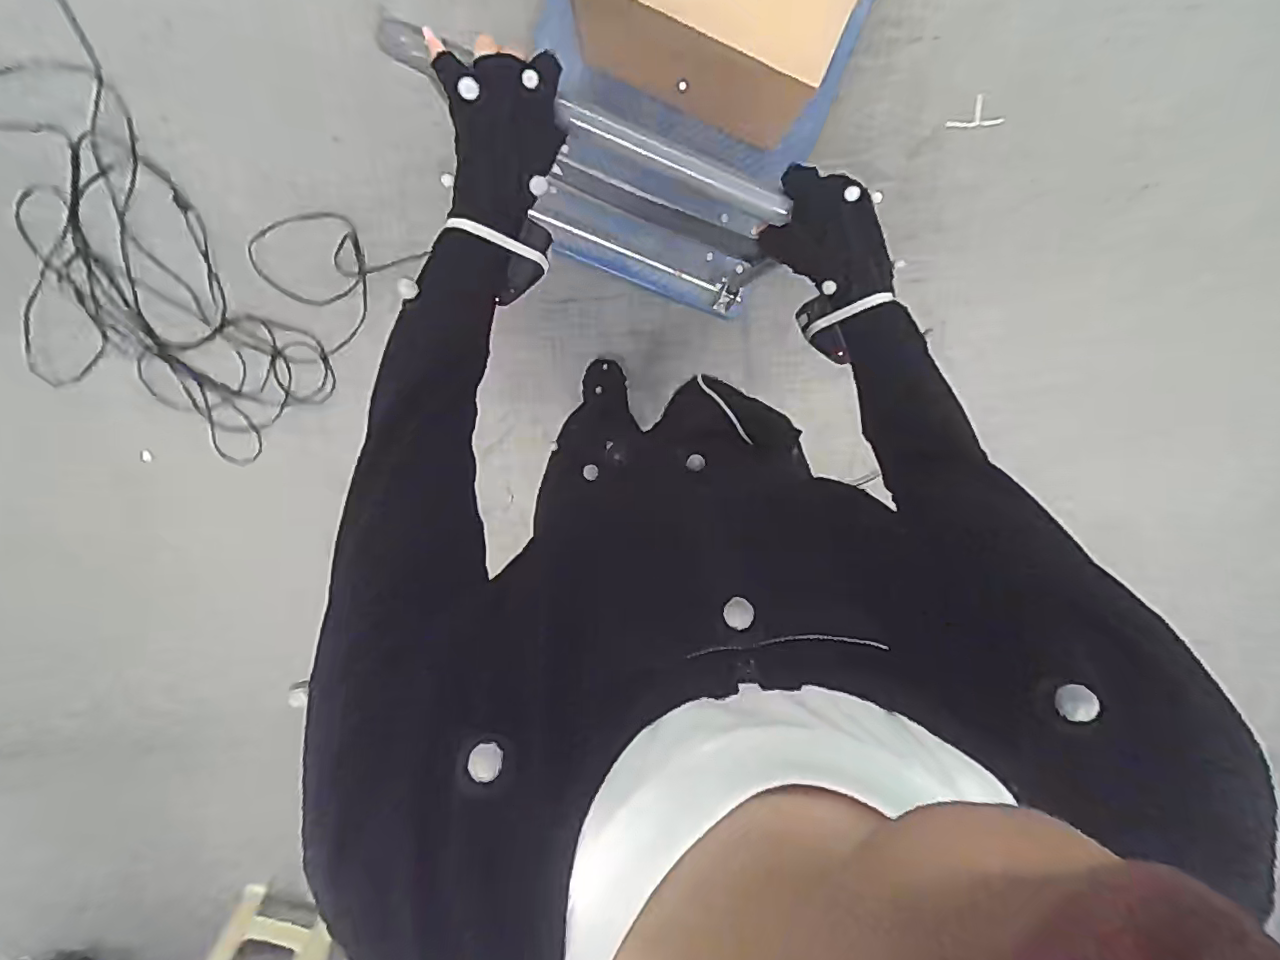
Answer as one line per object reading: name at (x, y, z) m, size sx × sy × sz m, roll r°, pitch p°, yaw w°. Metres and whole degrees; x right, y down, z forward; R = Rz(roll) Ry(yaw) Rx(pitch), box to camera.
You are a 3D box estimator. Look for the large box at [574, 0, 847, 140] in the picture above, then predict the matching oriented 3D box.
large box at (0.135, -0.843, 0.896) m, size 0.408 × 0.320 × 0.320 m, roll 21°, pitch 104°, yaw -5°
